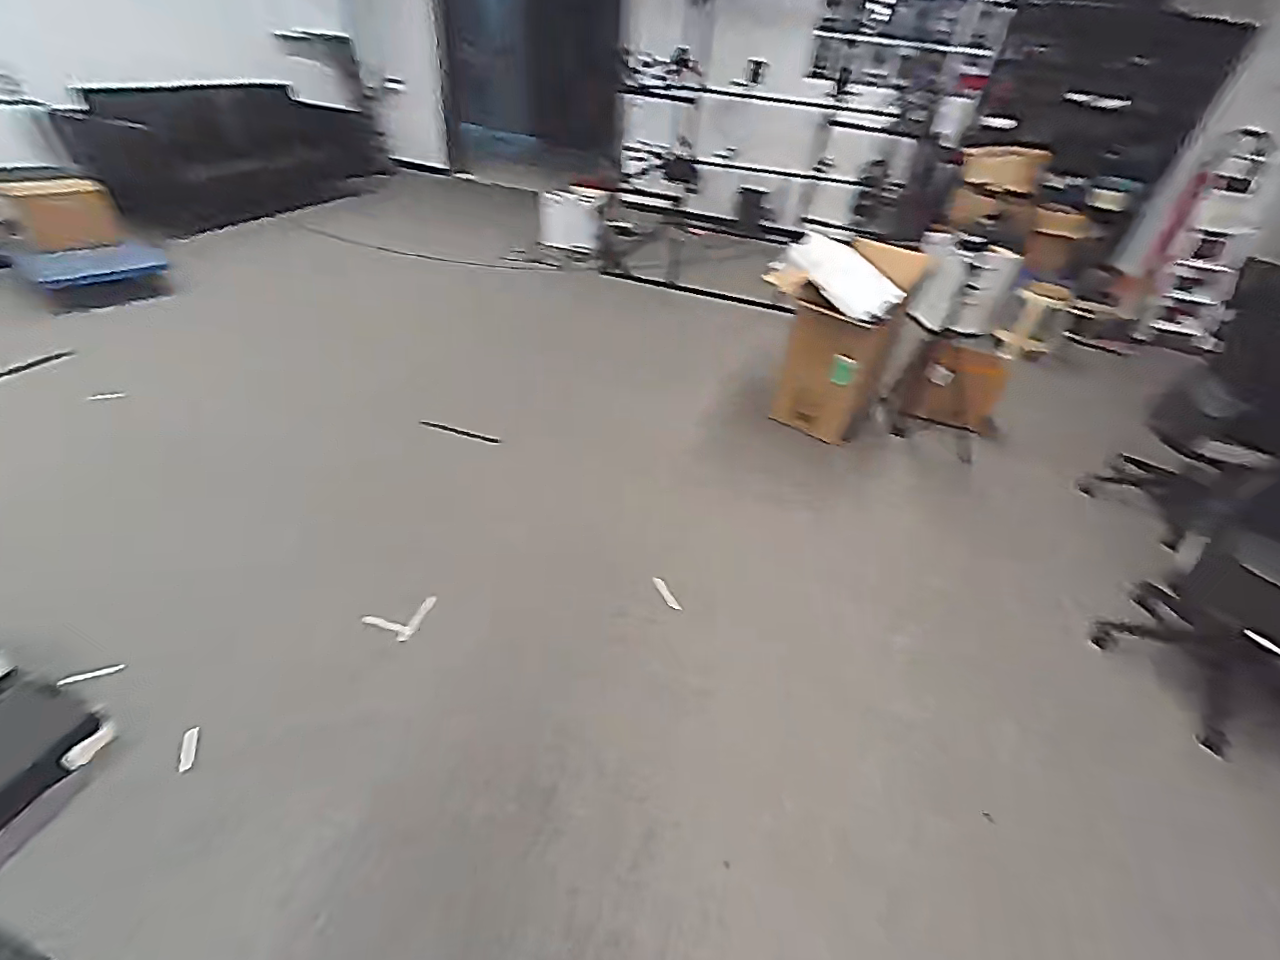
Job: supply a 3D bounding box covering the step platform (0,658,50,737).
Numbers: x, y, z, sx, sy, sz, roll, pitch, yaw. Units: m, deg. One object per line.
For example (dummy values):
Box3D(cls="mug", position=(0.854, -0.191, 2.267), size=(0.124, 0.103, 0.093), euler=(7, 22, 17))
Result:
Box3D(cls="step platform", position=(-1.725, 0.639, 1.100), size=(0.286, 0.204, 0.684), euler=(18, 36, 15))
